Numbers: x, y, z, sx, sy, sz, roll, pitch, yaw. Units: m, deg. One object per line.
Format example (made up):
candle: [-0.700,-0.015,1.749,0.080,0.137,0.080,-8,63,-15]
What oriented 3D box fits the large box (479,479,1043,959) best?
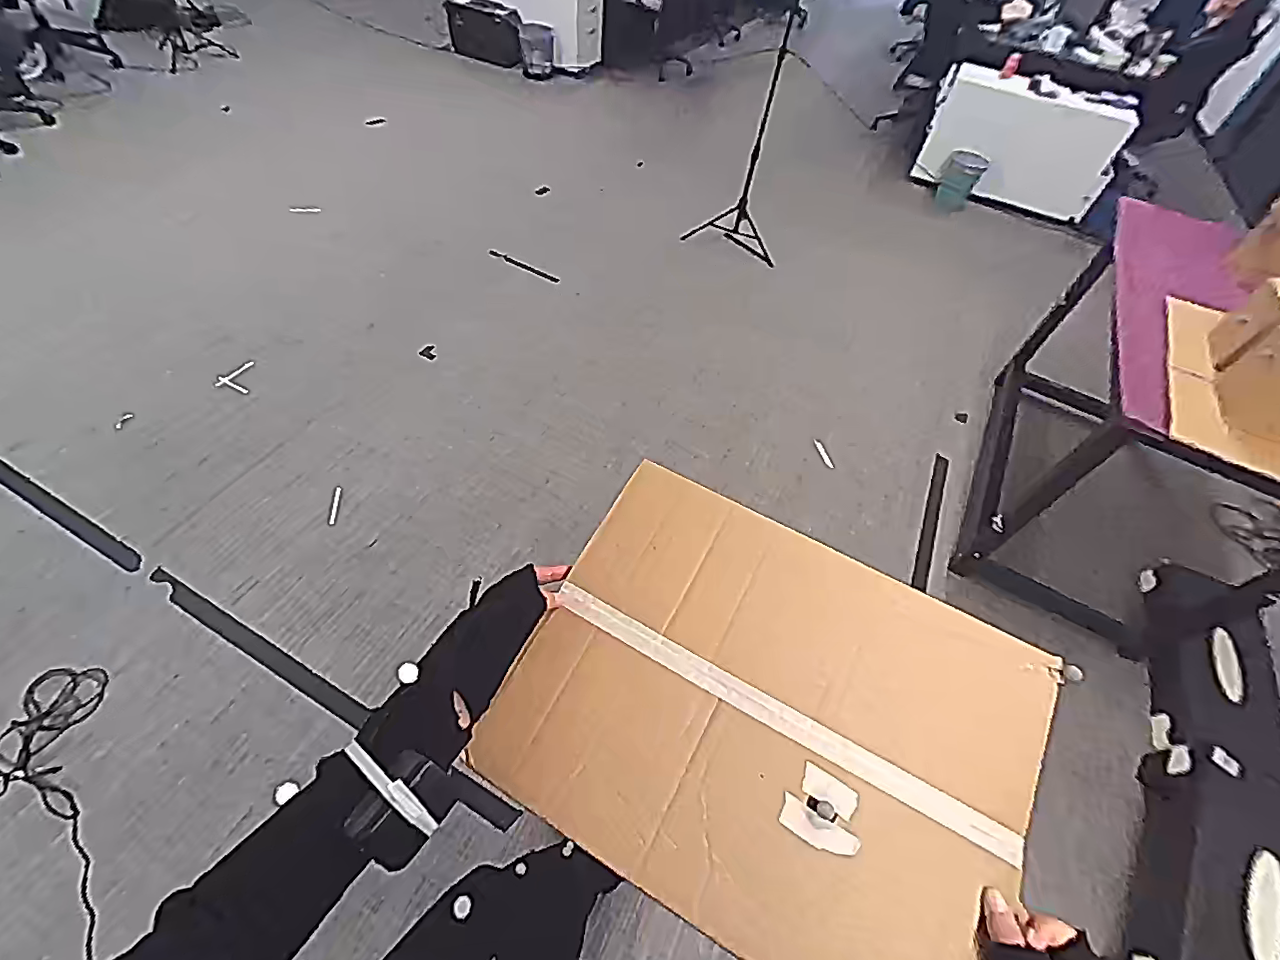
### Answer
large box: [0.110,0.264,0.593,0.408,0.320,0.320,27,67,14]
